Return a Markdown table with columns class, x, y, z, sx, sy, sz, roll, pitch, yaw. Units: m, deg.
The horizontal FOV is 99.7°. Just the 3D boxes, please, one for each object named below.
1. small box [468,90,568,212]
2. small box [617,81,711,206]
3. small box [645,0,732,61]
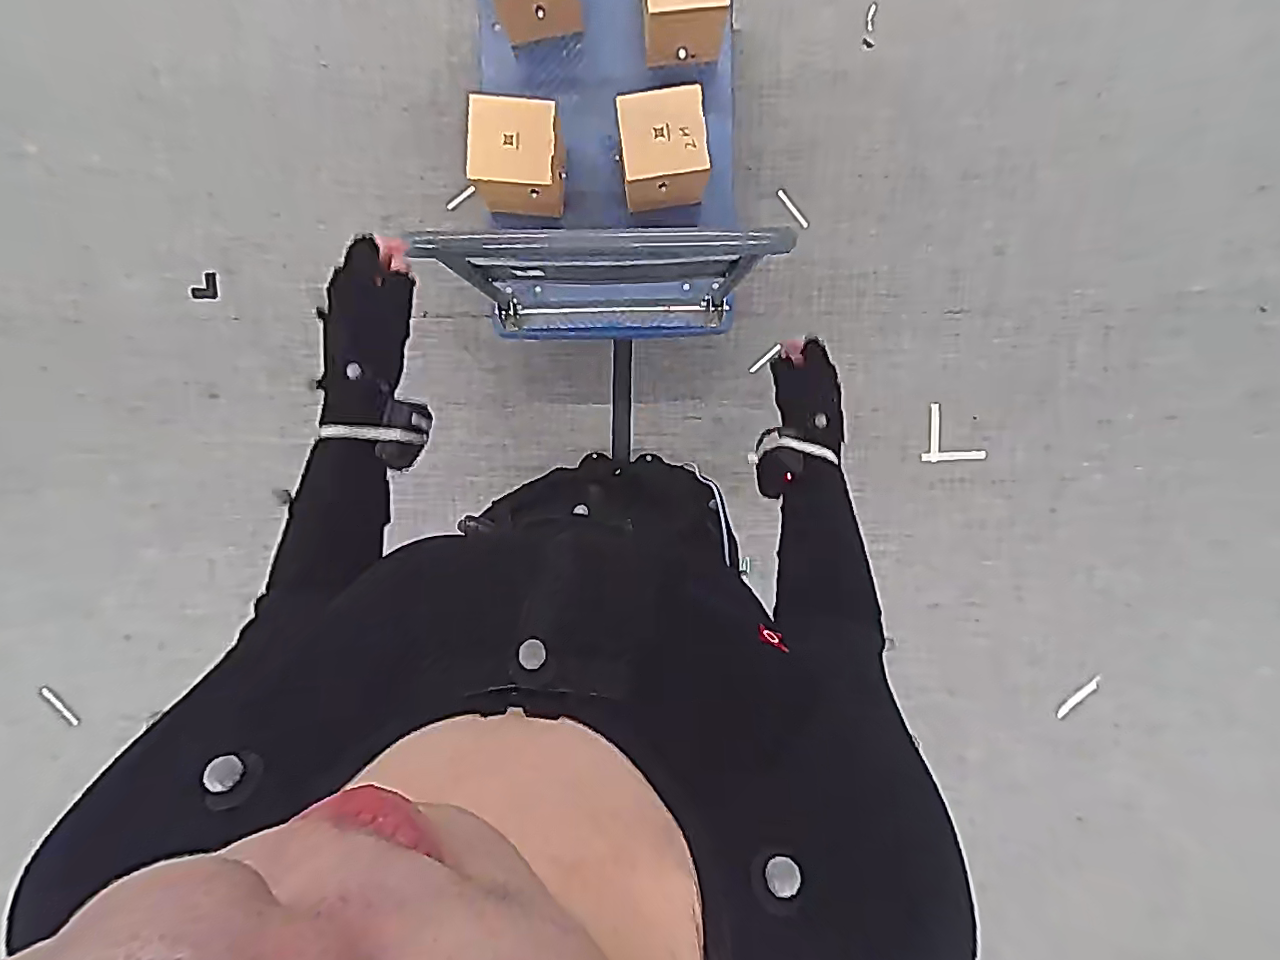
| class | x | y | z | sx | sy | sz | roll | pitch | yaw |
| --- | --- | --- | --- | --- | --- | --- | --- | --- | --- |
| small box | -0.258 | -0.700 | 1.168 | 0.179 | 0.176 | 0.168 | 4 | 96 | -2 |
| small box | 0.051 | -0.712 | 1.163 | 0.179 | 0.176 | 0.168 | -7 | 96 | 1 |
| small box | 0.095 | -1.028 | 1.129 | 0.168 | 0.176 | 0.179 | -4 | 97 | 1 |
